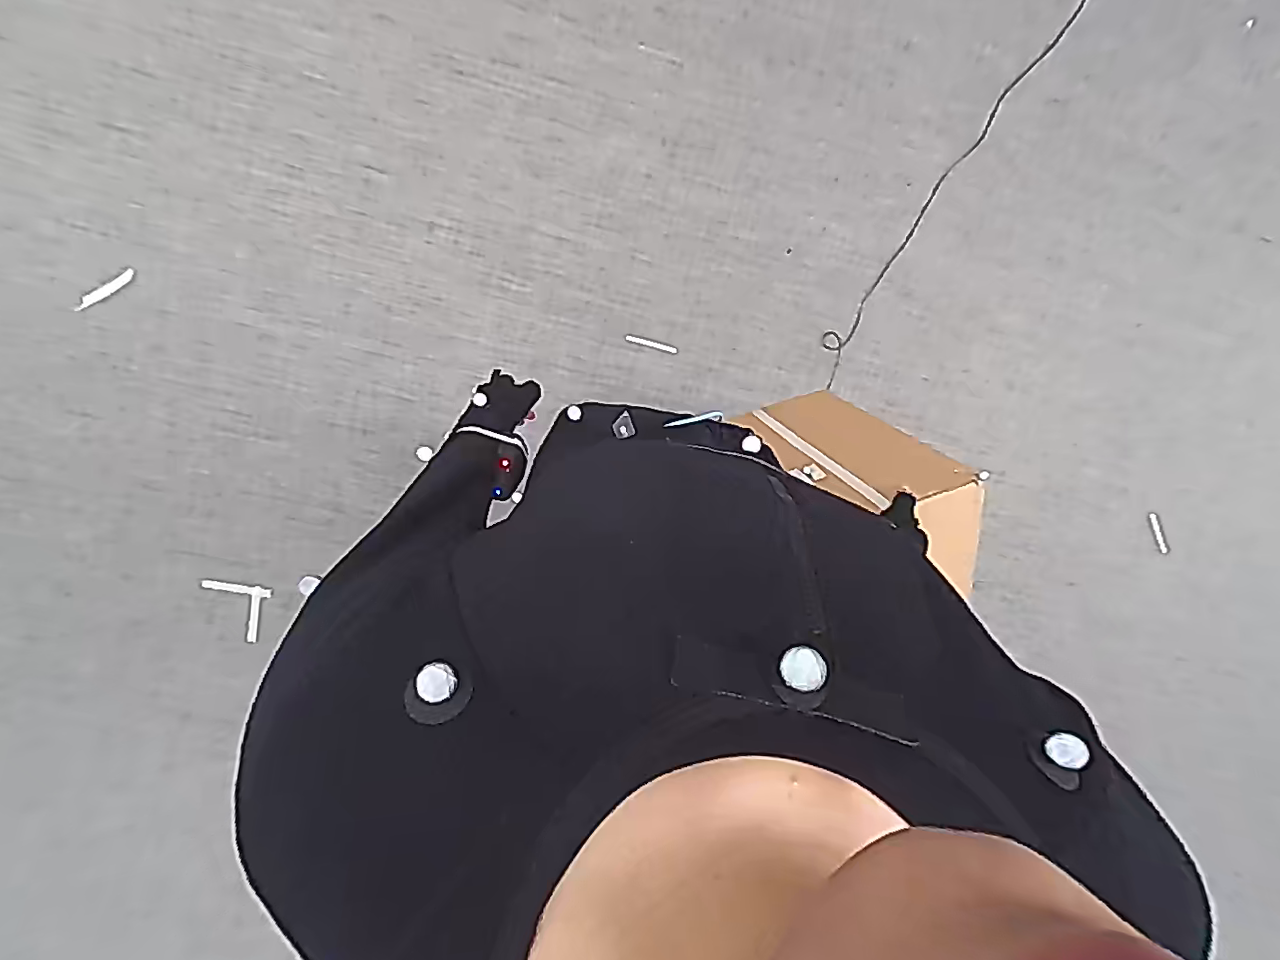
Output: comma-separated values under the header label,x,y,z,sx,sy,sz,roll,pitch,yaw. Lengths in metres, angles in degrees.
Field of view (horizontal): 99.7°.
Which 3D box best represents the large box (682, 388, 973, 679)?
label,x,y,z,sx,sy,sz,roll,pitch,yaw
large box,0.305,0.073,0.996,0.320,0.408,0.320,-18,123,-8
